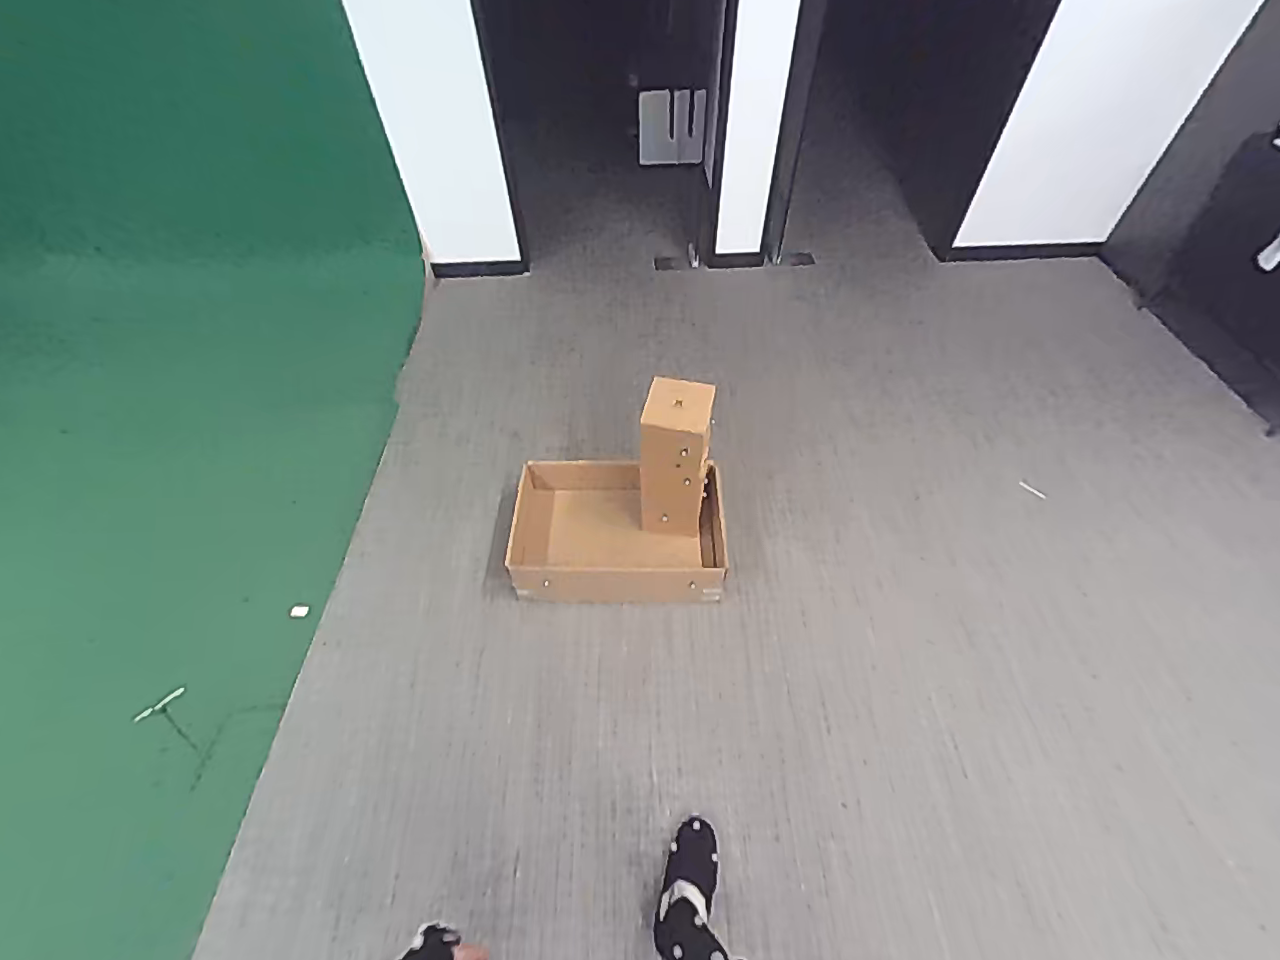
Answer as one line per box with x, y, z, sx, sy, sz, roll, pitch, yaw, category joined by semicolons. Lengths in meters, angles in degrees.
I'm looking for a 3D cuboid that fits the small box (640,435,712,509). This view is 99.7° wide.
0.104;-0.034;1.546;0.179;0.176;0.168;9;53;8;small box

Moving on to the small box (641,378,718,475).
0.103;-0.136;1.419;0.168;0.176;0.179;12;53;9;small box
